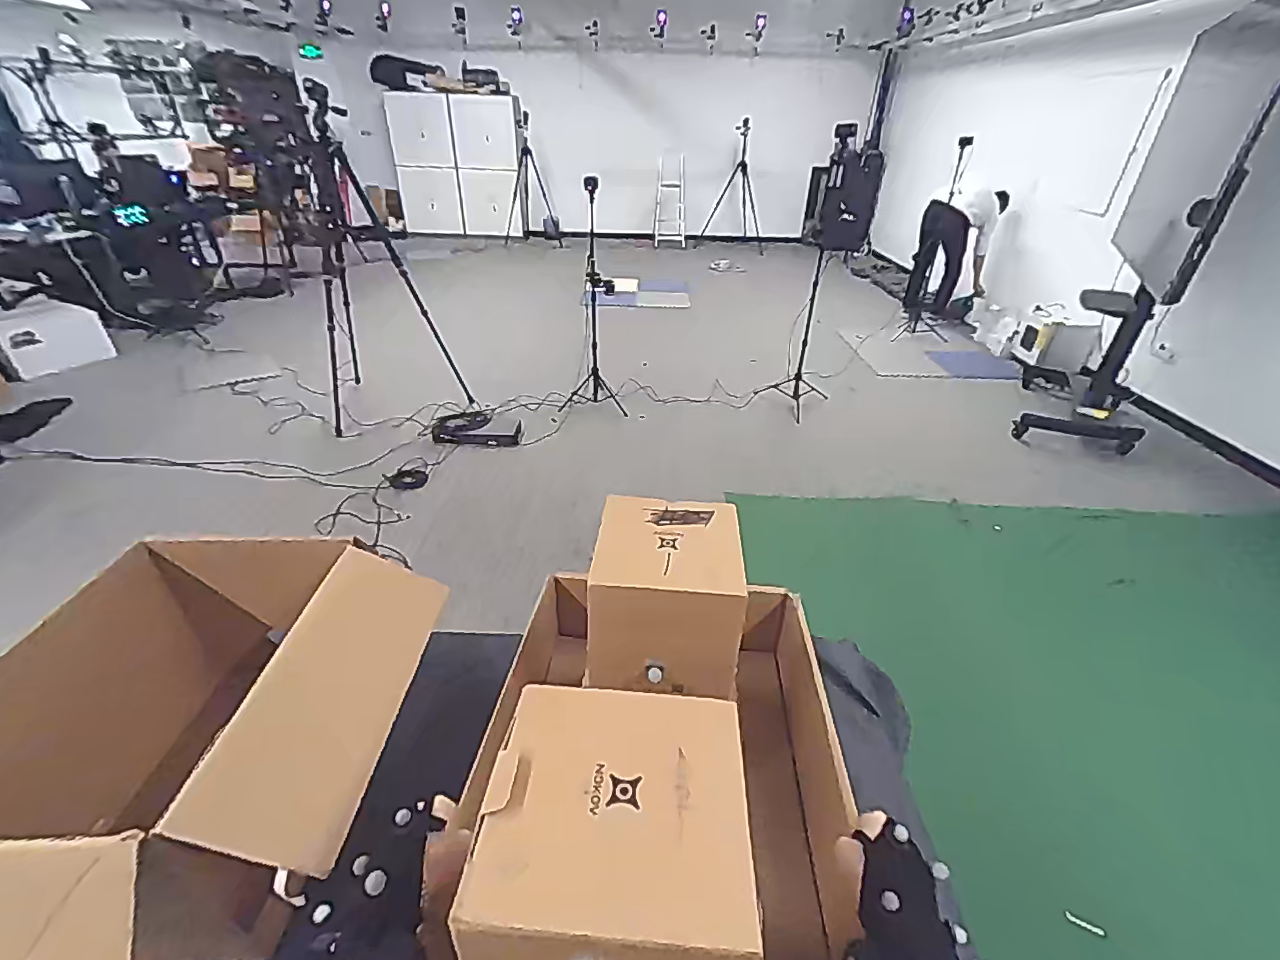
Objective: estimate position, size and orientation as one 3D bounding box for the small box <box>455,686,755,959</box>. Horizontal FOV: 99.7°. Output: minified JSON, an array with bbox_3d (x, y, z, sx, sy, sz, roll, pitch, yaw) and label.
[{"bbox_3d":[-0.018,0.285,0.412,0.179,0.176,0.168,4,30,2],"label":"small box"}]

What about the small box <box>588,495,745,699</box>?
[{"bbox_3d":[0.030,0.139,0.662,0.168,0.176,0.179,4,31,3],"label":"small box"}]
